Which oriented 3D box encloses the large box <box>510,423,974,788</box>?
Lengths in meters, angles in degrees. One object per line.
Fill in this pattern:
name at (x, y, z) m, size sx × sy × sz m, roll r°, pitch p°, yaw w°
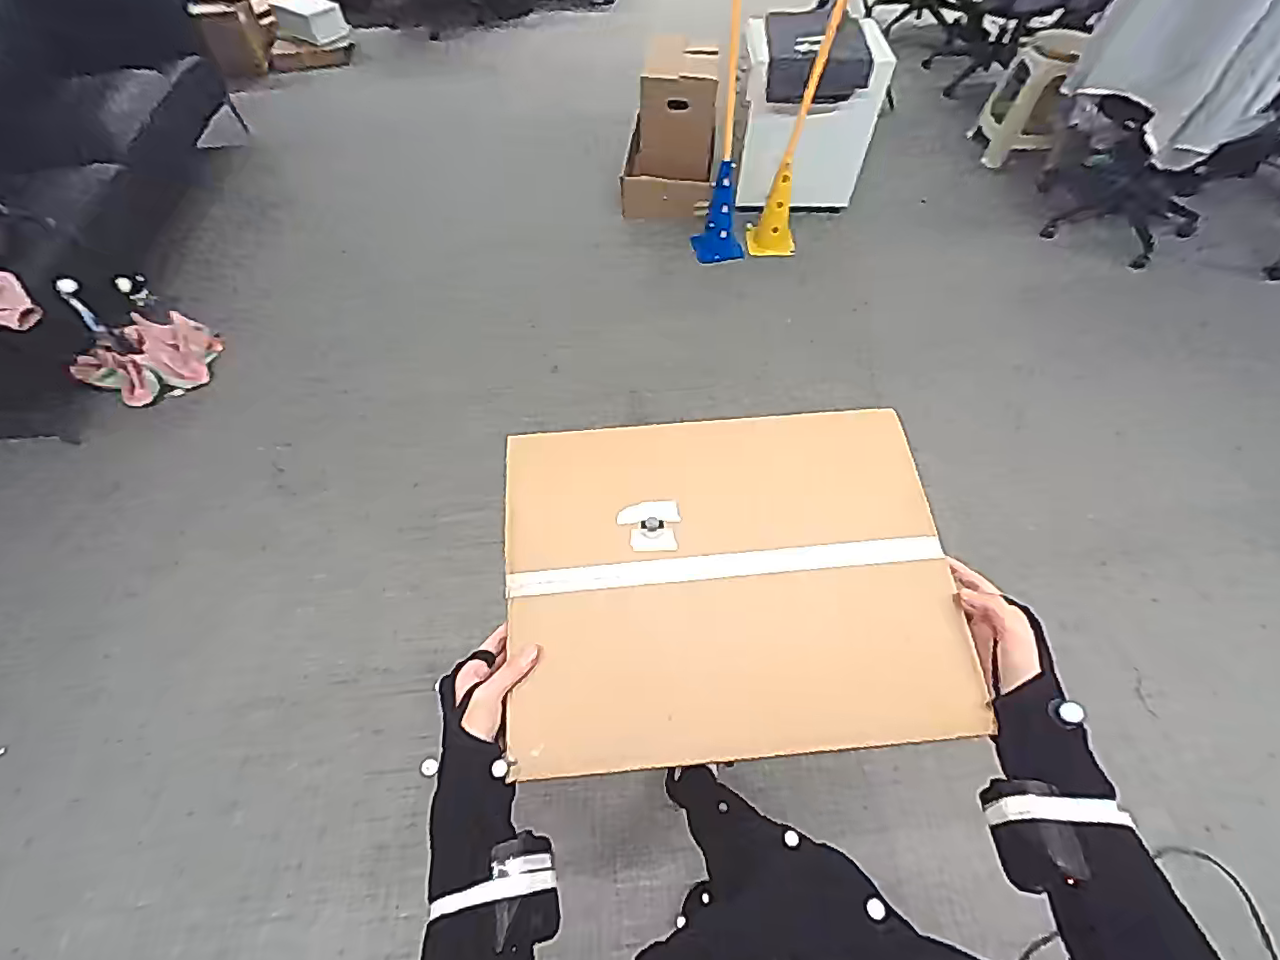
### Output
large box at (0.079, 0.156, 0.650) m, size 0.408 × 0.320 × 0.320 m, roll -5°, pitch 65°, yaw -2°
